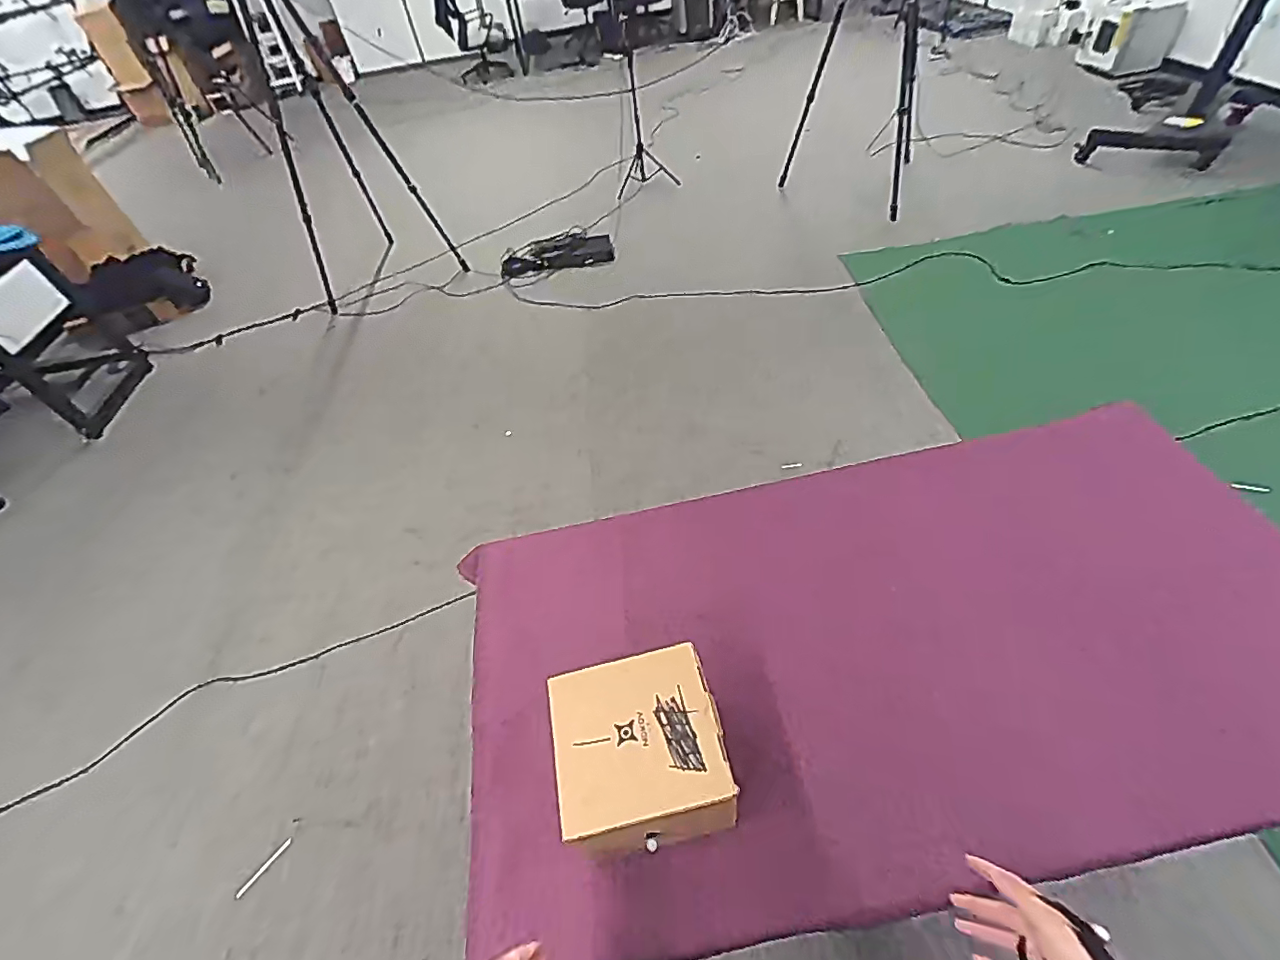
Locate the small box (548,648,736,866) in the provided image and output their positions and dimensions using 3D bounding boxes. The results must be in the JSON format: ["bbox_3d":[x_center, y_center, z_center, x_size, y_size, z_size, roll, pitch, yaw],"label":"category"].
[{"bbox_3d":[0.004,0.324,0.629,0.179,0.176,0.168,-15,47,-2],"label":"small box"}]
